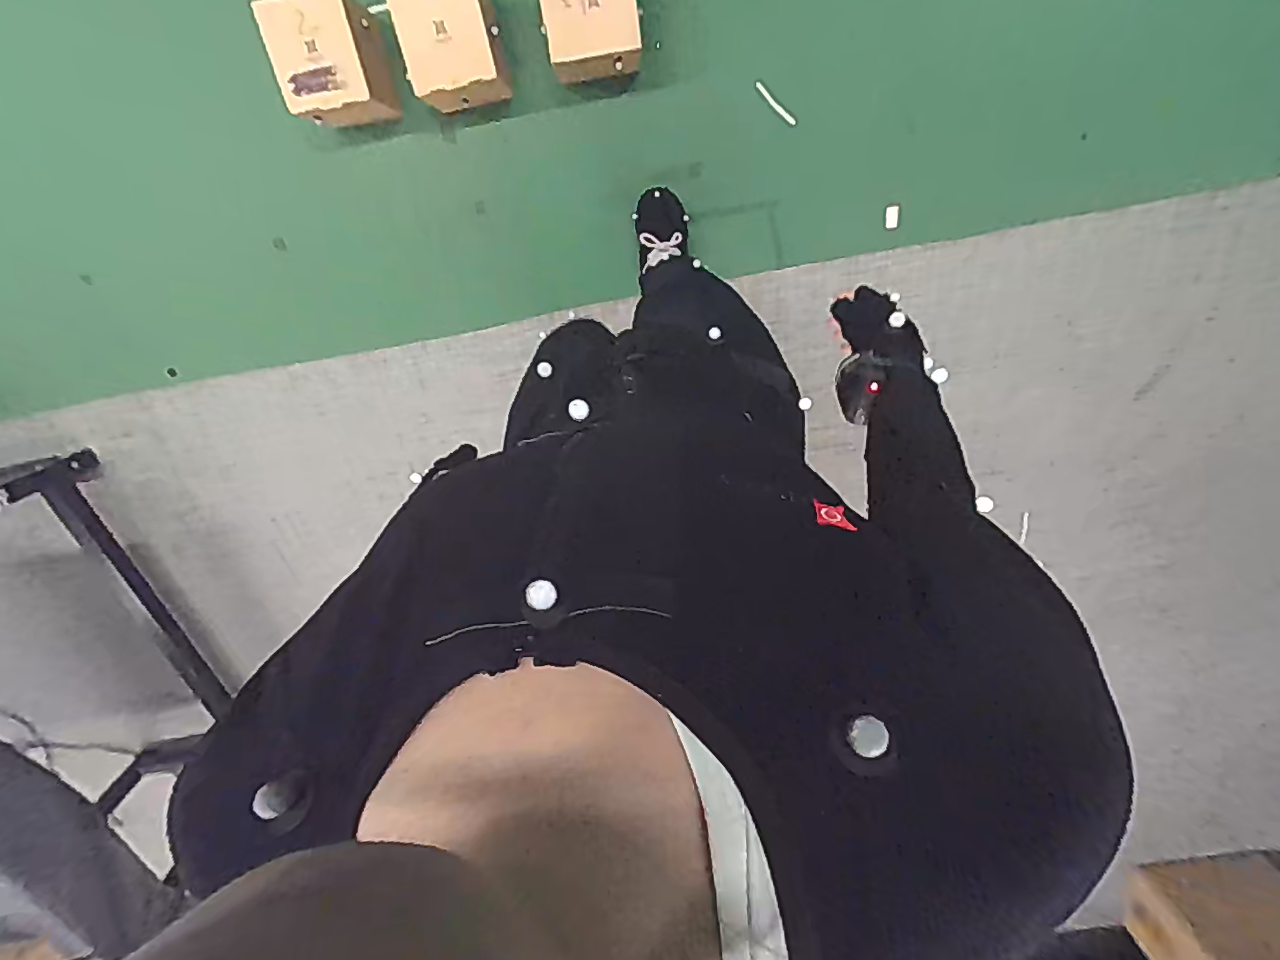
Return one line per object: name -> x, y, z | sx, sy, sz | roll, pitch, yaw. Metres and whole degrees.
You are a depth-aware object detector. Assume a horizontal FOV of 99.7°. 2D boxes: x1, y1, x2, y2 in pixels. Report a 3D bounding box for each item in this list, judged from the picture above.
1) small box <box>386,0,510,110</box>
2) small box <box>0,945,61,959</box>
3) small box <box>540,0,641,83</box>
small box -> -0.369, -0.859, 1.063 | 0.168, 0.176, 0.179 | -10, 116, 3
small box -> -1.443, 1.178, 1.209 | 0.168, 0.176, 0.179 | -11, 116, 4
small box -> -0.097, -0.898, 1.049 | 0.179, 0.176, 0.168 | -8, 115, 2
